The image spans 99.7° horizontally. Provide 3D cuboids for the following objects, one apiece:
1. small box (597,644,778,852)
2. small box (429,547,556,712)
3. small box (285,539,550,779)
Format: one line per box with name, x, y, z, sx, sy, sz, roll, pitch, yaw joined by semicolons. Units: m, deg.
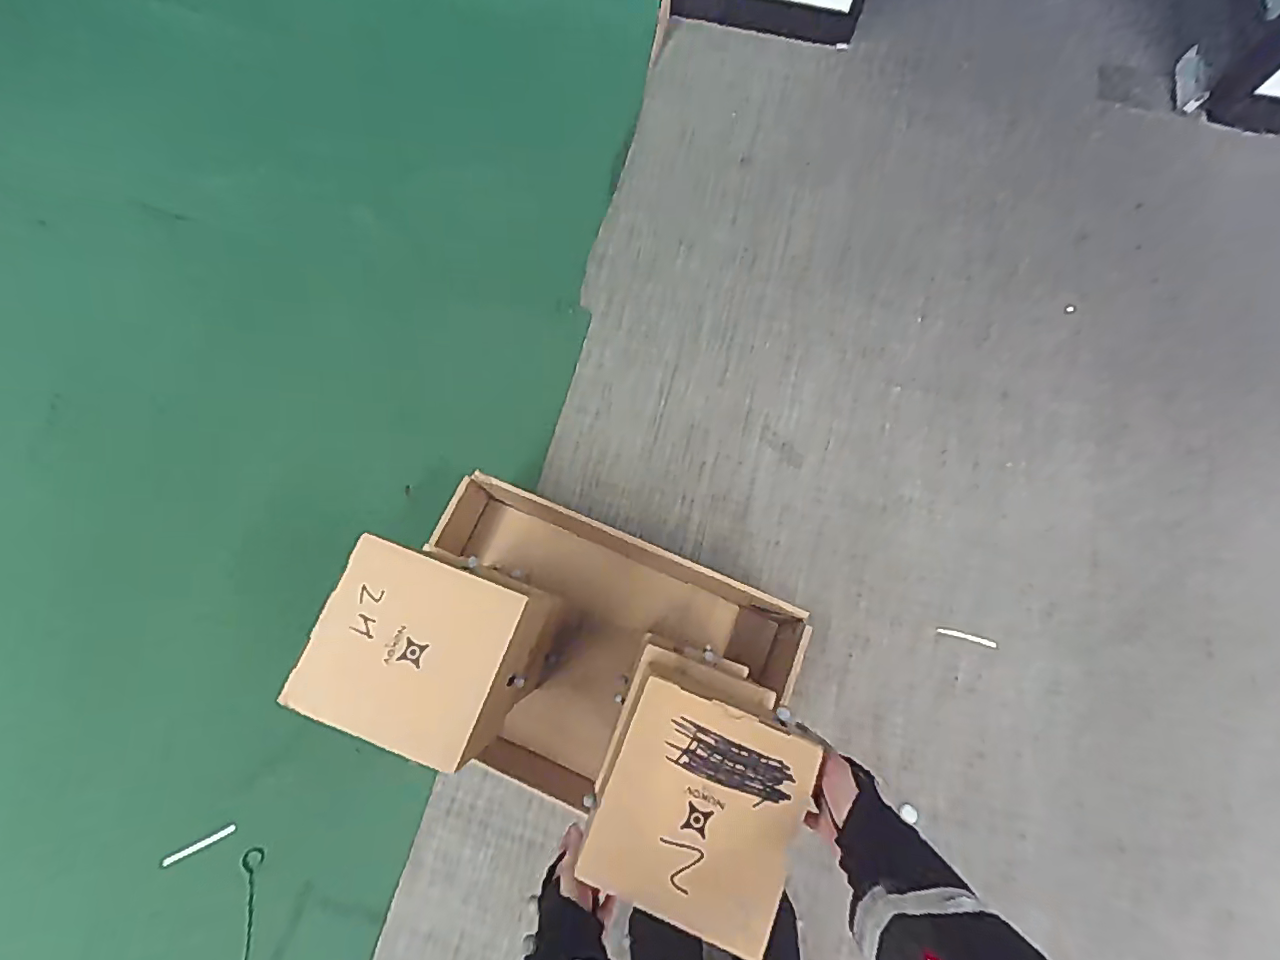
small box;0.058;0.327;0.700;0.168;0.176;0.179;21;75;6
small box;-0.224;0.210;0.732;0.168;0.176;0.179;22;77;5
small box;-0.209;0.177;0.571;0.179;0.176;0.168;21;76;4
